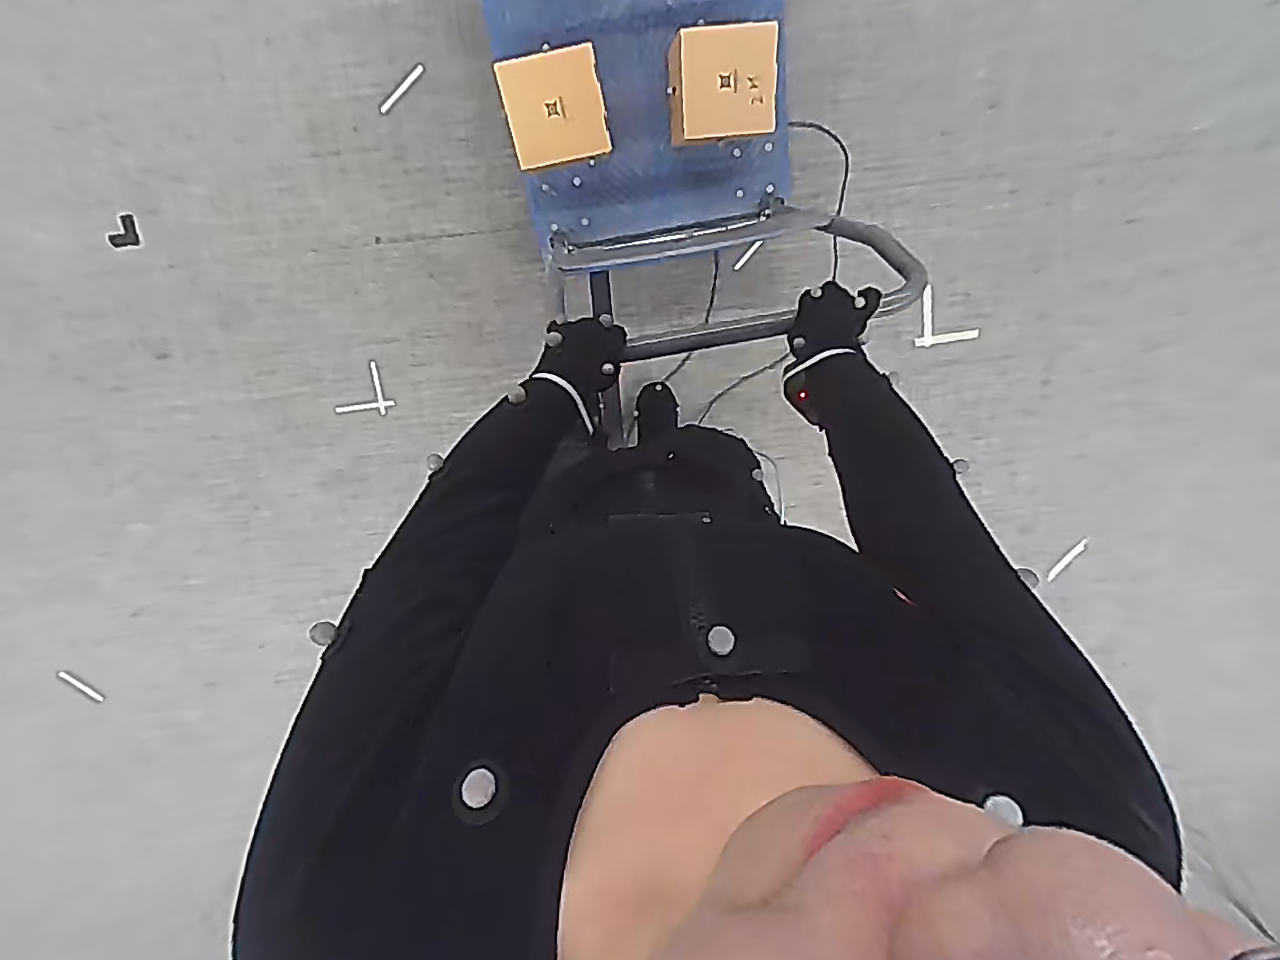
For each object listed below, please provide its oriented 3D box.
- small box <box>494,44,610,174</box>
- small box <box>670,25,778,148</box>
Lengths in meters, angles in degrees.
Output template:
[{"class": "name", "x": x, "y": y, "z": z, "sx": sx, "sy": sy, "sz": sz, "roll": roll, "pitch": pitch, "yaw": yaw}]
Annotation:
[{"class": "small box", "x": -0.161, "y": -0.697, "z": 1.036, "sx": 0.179, "sy": 0.176, "sz": 0.168, "roll": -13, "pitch": 118, "yaw": -1}, {"class": "small box", "x": 0.152, "y": -0.747, "z": 1.042, "sx": 0.179, "sy": 0.176, "sz": 0.168, "roll": -6, "pitch": 118, "yaw": -3}]
